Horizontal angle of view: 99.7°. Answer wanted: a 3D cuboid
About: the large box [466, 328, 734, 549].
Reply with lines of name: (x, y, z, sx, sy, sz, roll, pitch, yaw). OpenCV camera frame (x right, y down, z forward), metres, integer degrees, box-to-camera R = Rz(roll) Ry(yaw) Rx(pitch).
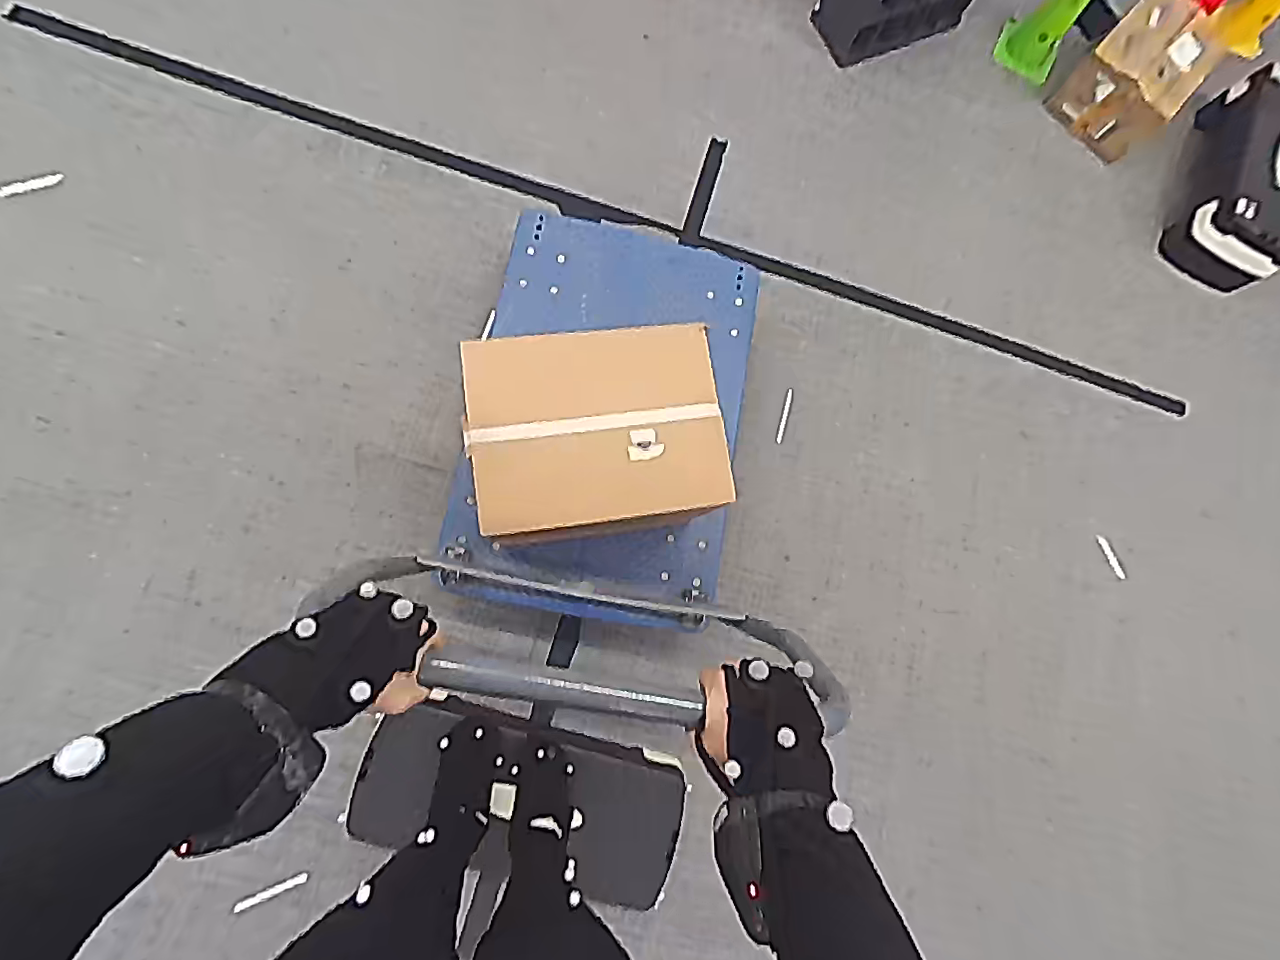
large box: (-0.086, -0.060, 1.013, 0.408, 0.320, 0.320, -7, 82, -11)
